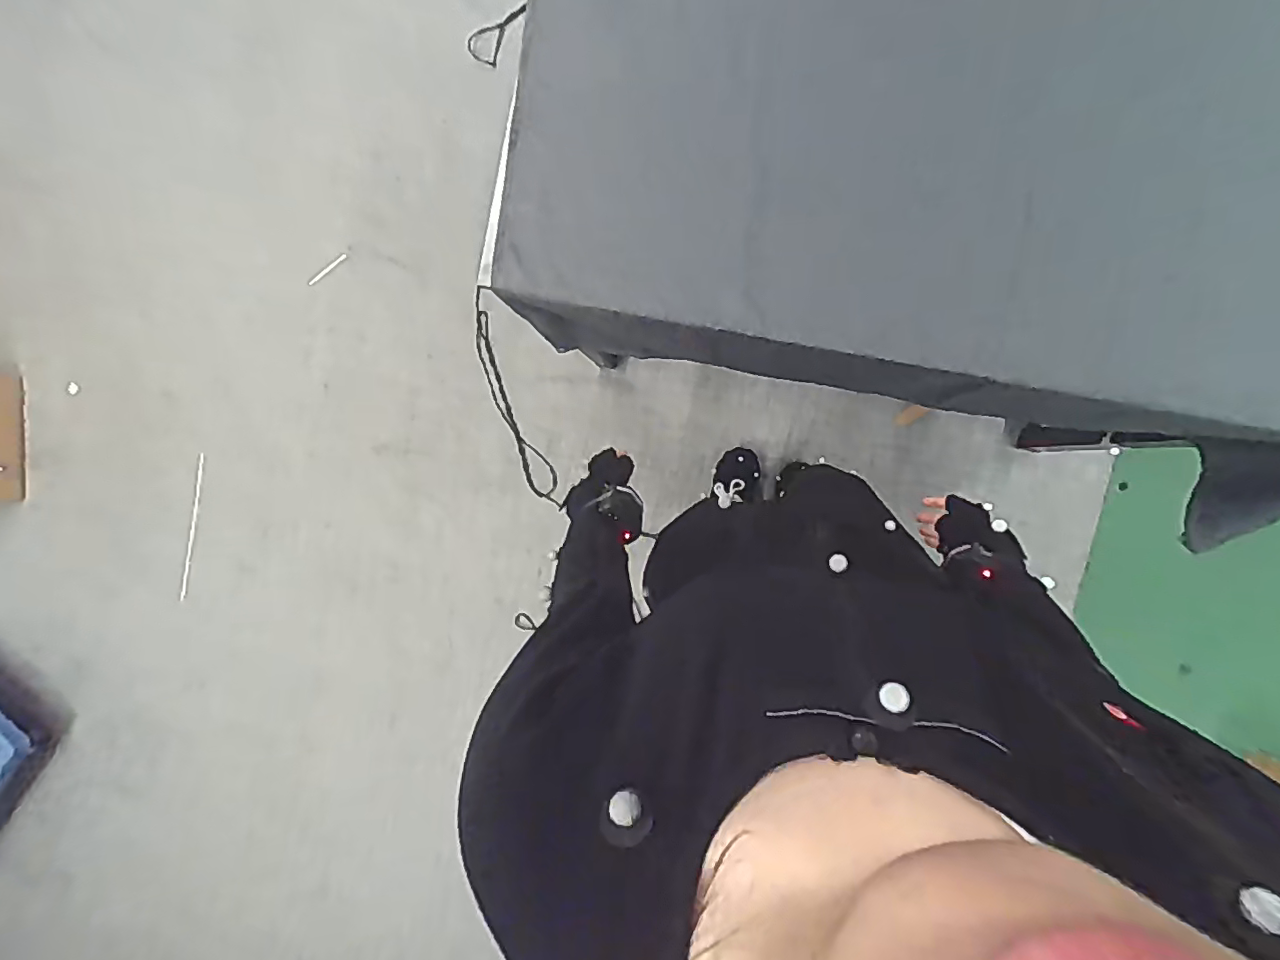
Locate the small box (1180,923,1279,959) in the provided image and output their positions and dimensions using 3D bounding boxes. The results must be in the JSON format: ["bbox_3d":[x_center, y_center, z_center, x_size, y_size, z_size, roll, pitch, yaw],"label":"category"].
[{"bbox_3d":[1.451,1.206,1.277,0.179,0.176,0.168,13,94,8],"label":"small box"}]

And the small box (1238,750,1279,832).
[{"bbox_3d":[1.564,0.755,1.242,0.179,0.176,0.168,17,95,7],"label":"small box"}]

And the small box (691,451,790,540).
[{"bbox_3d":[0.257,0.040,1.414,0.168,0.176,0.179,-45,66,23],"label":"small box"}]
